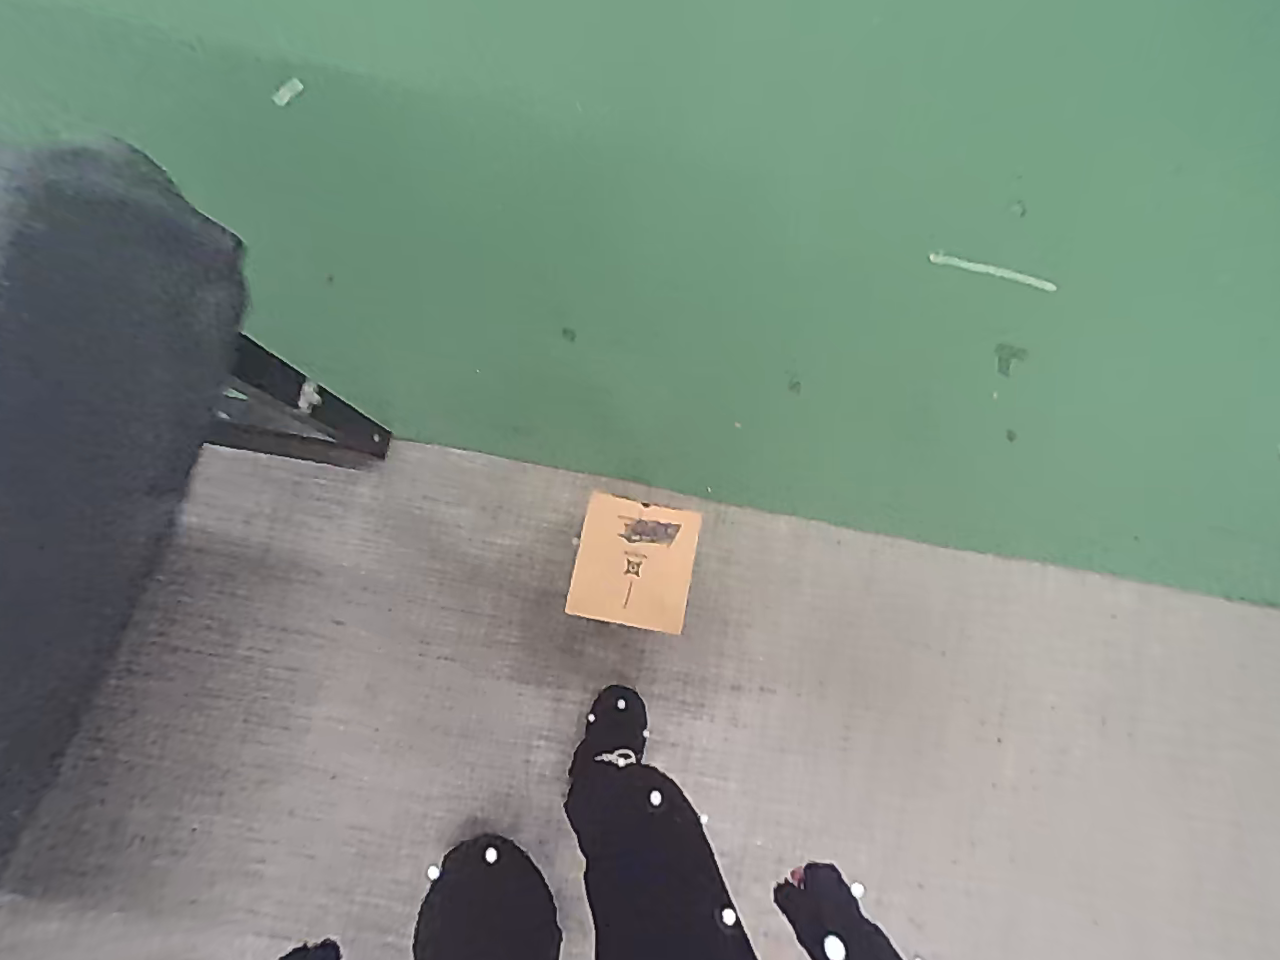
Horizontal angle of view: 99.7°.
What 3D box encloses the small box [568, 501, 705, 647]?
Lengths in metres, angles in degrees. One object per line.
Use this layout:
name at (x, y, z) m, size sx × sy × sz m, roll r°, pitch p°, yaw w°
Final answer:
small box at (-0.009, 0.144, 0.838) m, size 0.168 × 0.176 × 0.179 m, roll 13°, pitch 80°, yaw -1°
